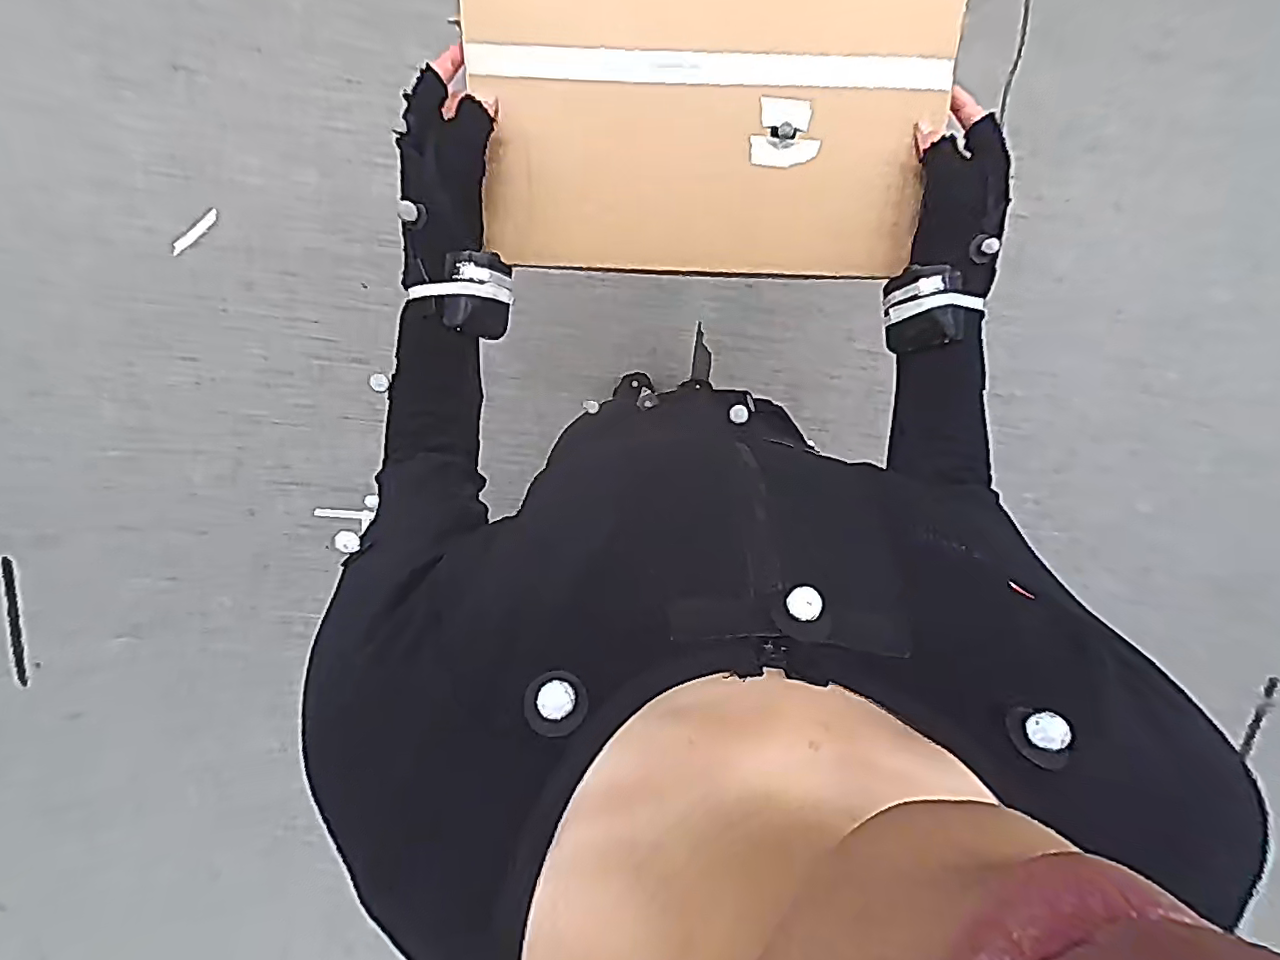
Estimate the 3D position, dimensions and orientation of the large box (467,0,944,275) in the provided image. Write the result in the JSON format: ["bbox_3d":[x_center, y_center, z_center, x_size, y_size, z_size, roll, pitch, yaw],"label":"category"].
[{"bbox_3d":[0.050,-0.400,0.605,0.408,0.320,0.320,1,111,-1],"label":"large box"}]
